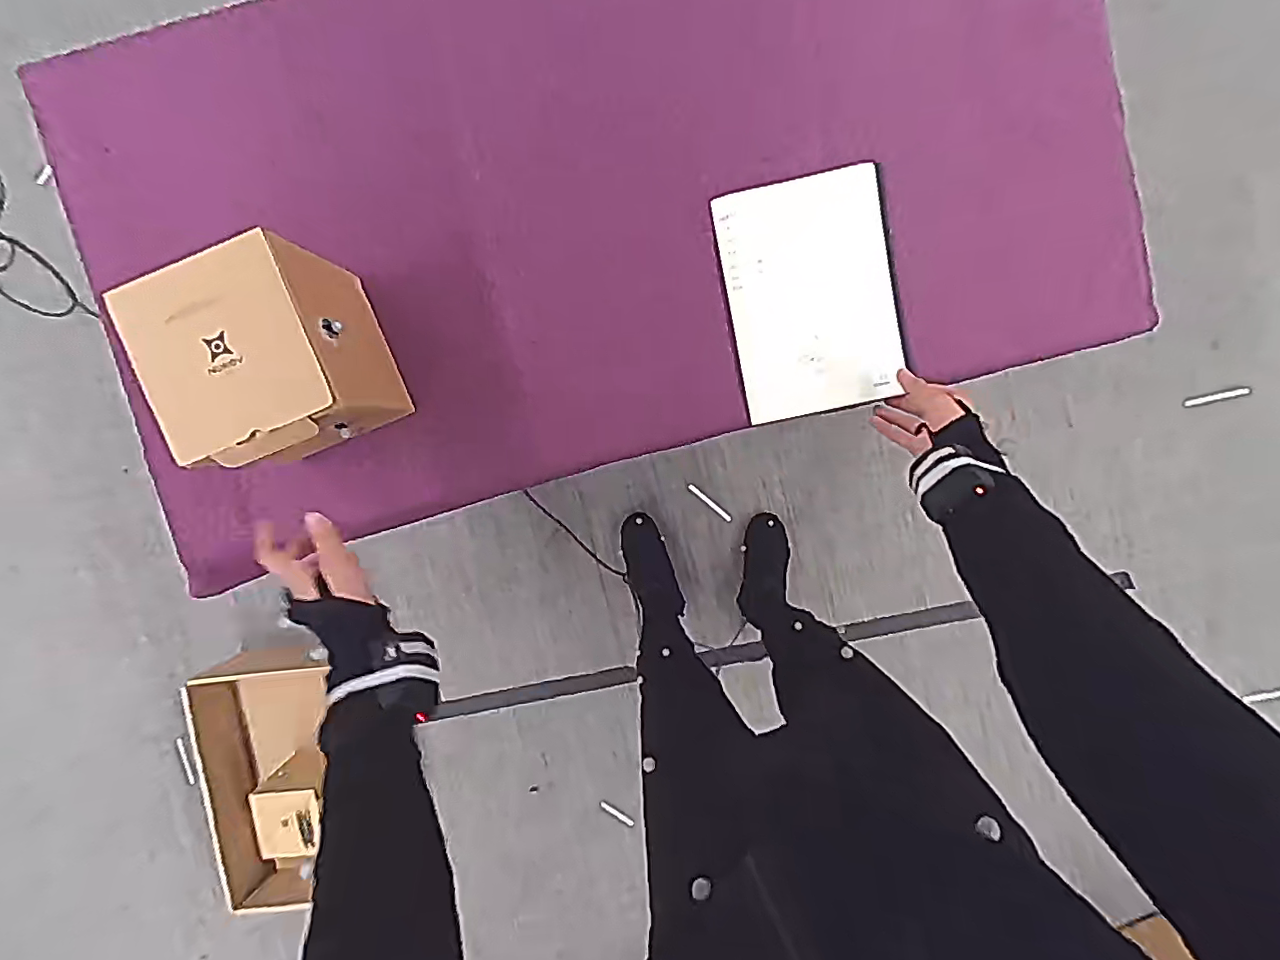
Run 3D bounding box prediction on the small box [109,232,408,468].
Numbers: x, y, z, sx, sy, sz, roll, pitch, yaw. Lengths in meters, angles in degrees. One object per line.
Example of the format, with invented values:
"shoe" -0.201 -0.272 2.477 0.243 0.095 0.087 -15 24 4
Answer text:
"small box" -0.384 -0.127 0.581 0.168 0.176 0.179 -21 94 3
